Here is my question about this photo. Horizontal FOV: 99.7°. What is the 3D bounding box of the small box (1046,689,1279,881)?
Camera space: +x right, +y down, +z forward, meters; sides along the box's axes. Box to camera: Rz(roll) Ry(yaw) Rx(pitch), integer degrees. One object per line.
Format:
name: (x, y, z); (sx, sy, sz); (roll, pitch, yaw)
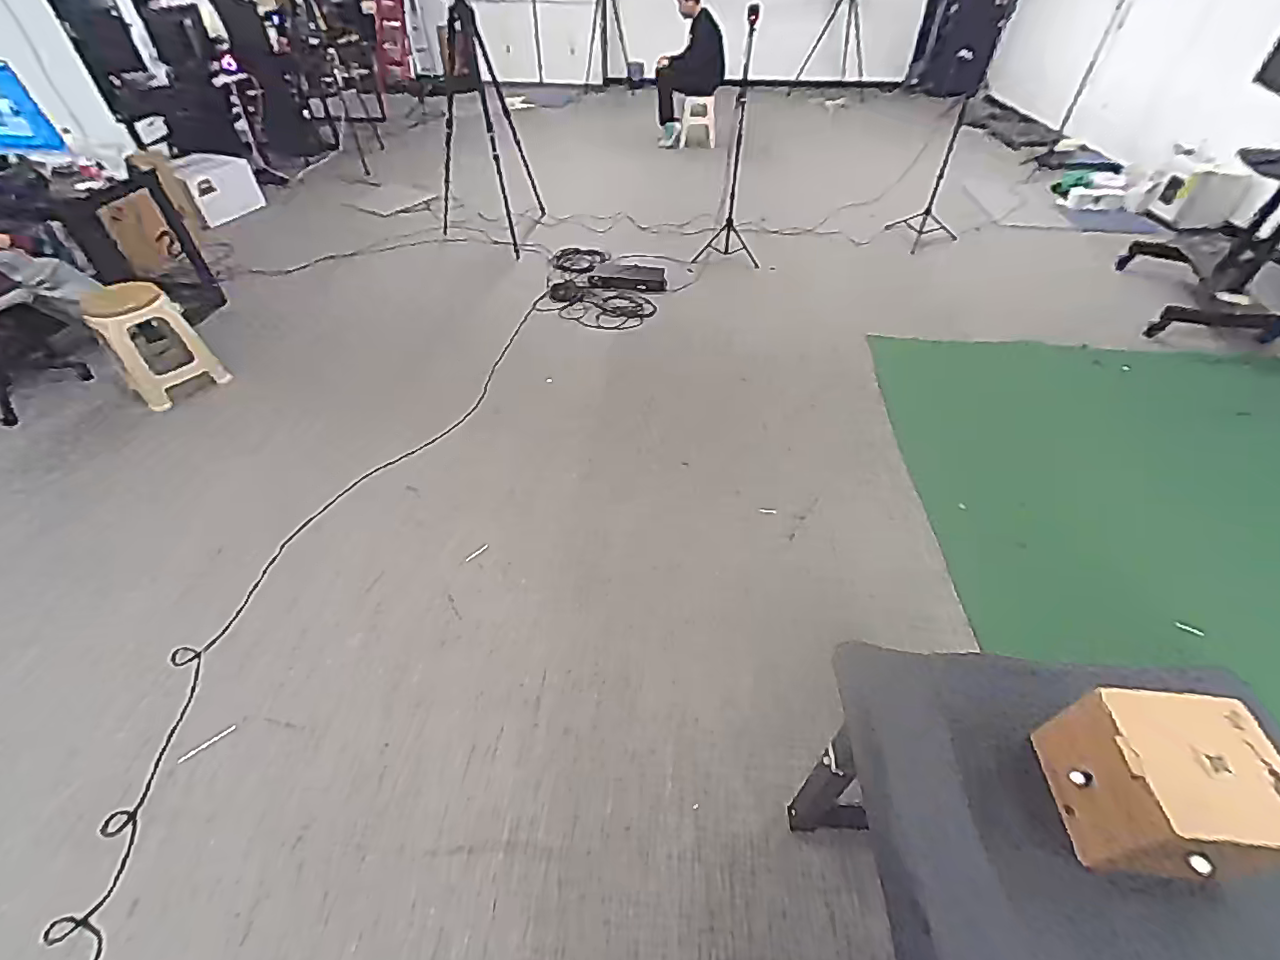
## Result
small box: (0.658, 0.385, 0.680); (0.179, 0.176, 0.168); (4, 46, 4)
